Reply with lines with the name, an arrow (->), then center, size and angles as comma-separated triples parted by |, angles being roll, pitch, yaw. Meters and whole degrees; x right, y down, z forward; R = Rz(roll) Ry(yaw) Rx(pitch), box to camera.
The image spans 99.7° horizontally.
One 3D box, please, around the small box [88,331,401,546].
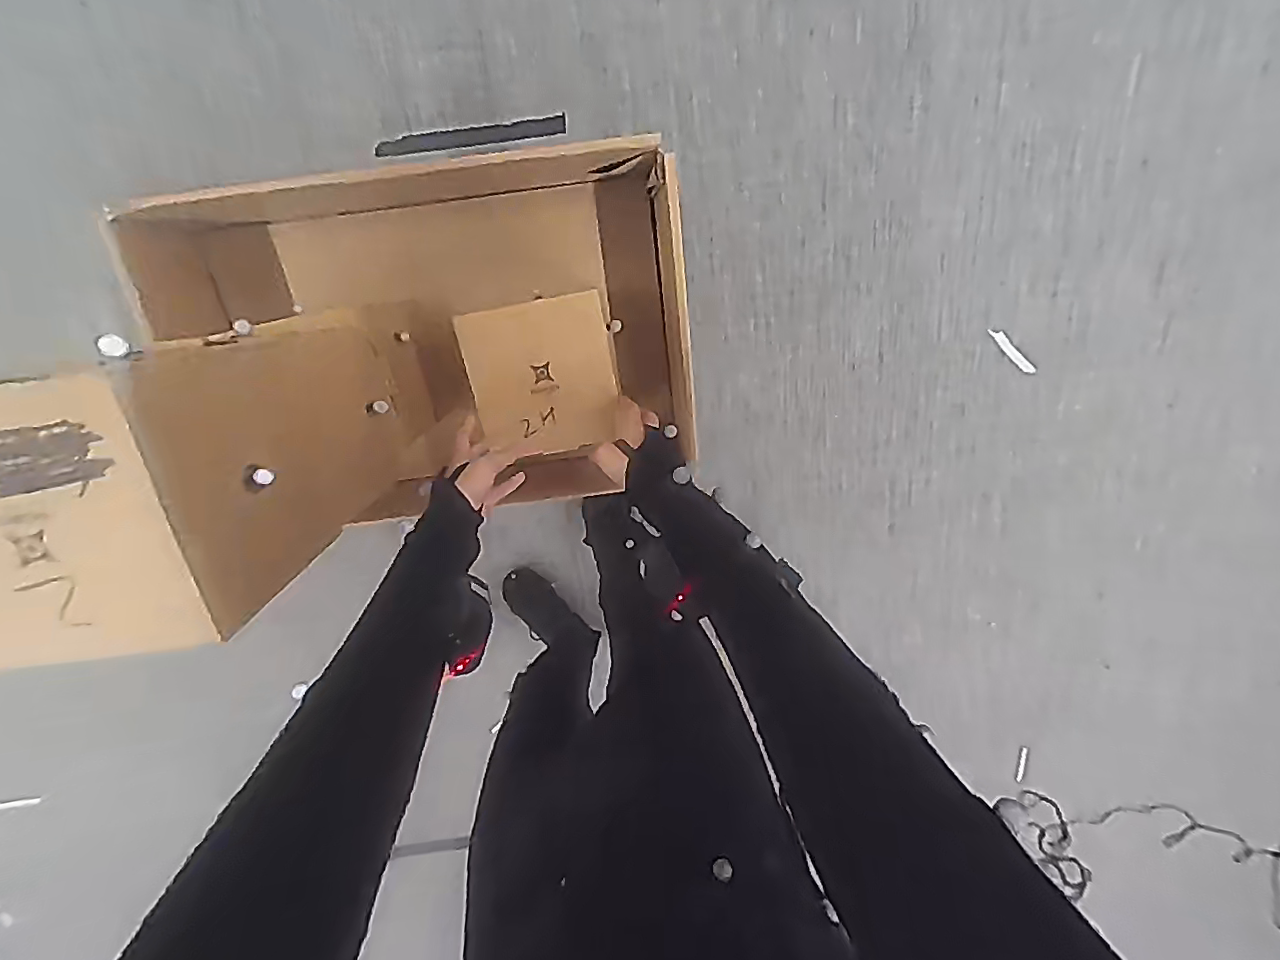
small box -> -0.365, -0.054, 0.542 | 0.168, 0.176, 0.179 | -6, 109, -1
